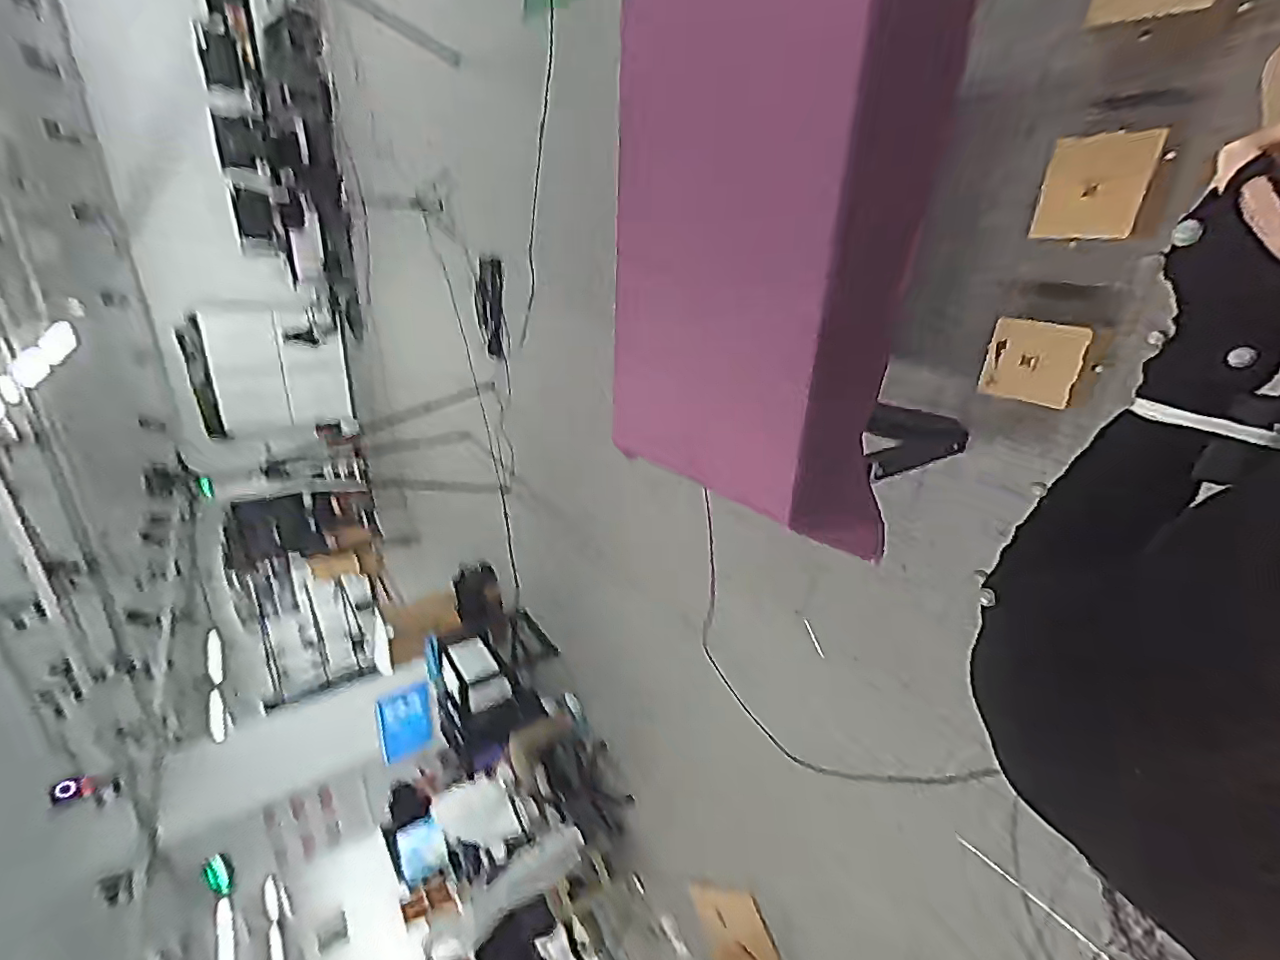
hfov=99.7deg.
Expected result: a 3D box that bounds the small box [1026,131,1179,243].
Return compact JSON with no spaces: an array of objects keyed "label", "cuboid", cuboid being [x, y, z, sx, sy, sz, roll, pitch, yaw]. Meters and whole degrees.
[{"label":"small box","cuboid":[0.914,-0.568,1.070,0.168,0.176,0.179,30,124,47]}]

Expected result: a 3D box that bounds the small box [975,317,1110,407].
[{"label":"small box","cuboid":[0.892,-0.269,1.198,0.179,0.176,0.168,30,122,46]}]
